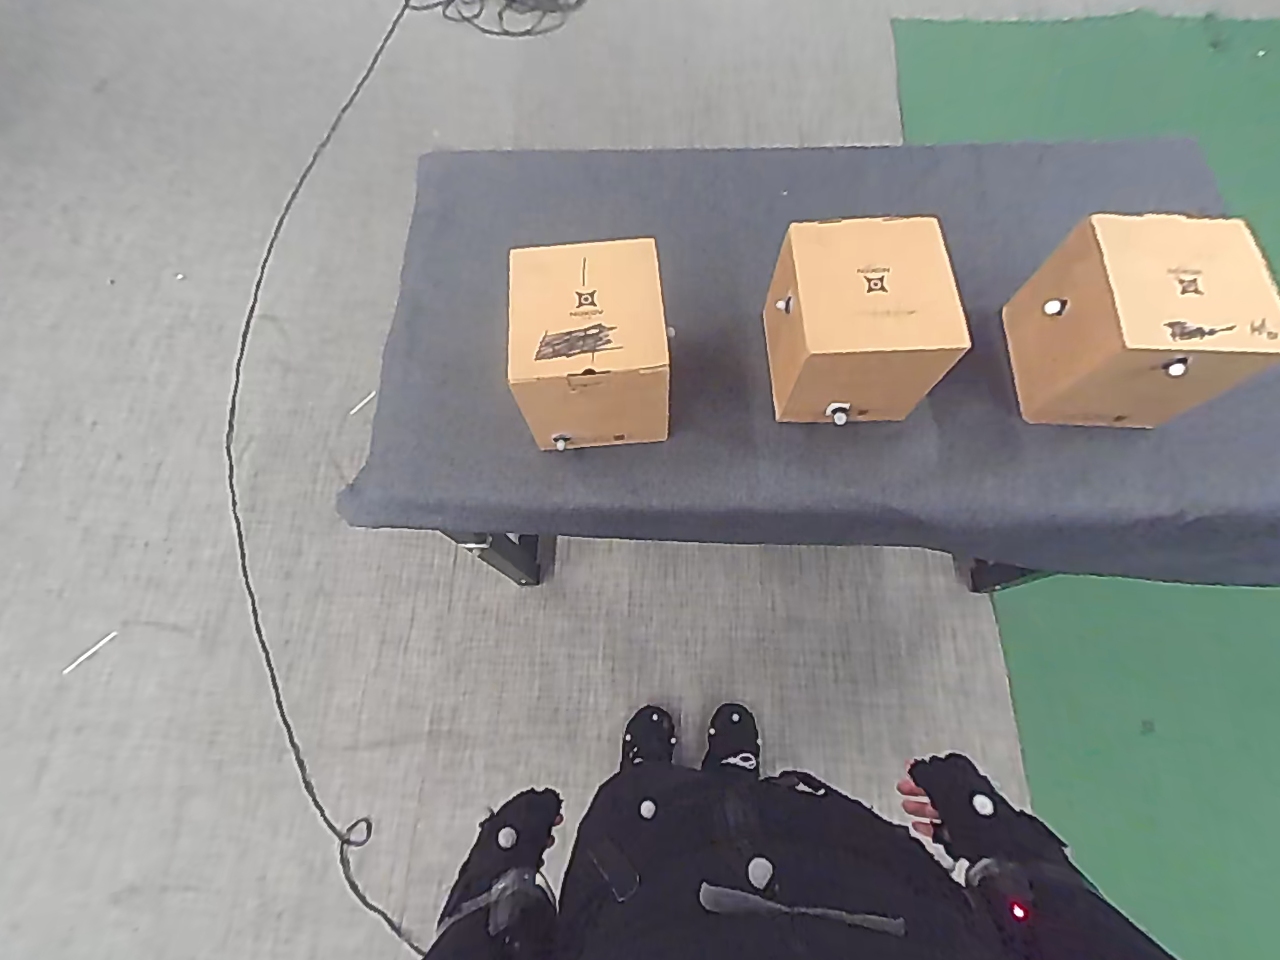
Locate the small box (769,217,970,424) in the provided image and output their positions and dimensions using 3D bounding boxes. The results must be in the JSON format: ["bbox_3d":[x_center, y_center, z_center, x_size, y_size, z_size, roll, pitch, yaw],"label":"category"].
[{"bbox_3d":[0.258,-0.185,0.657,0.168,0.176,0.179,-3,70,3],"label":"small box"}]

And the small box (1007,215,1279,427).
[{"bbox_3d":[0.573,-0.181,0.641,0.168,0.176,0.179,2,69,4],"label":"small box"}]

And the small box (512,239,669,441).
[{"bbox_3d":[-0.052,-0.156,0.654,0.168,0.176,0.179,-5,68,0],"label":"small box"}]
